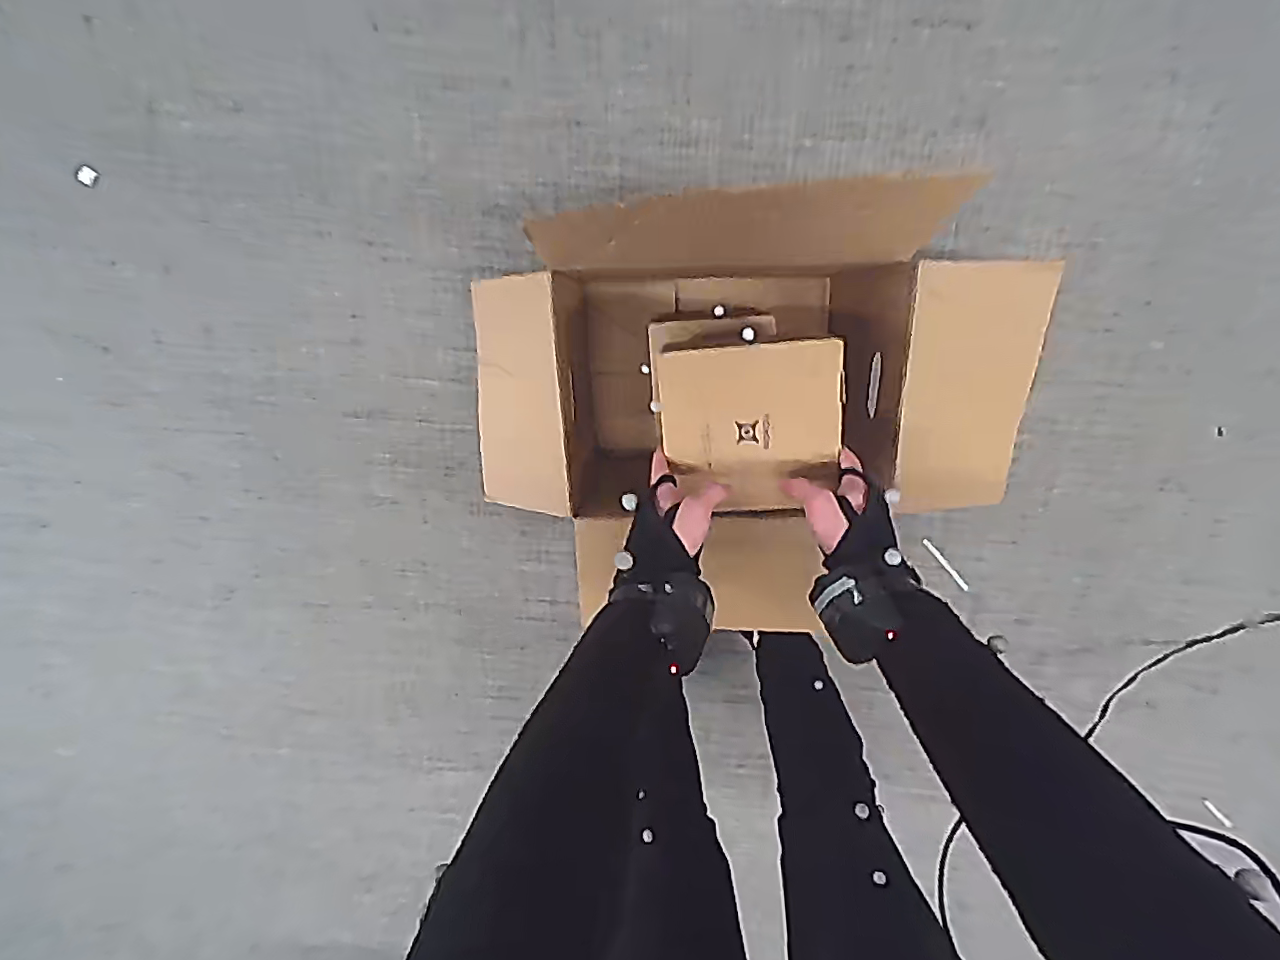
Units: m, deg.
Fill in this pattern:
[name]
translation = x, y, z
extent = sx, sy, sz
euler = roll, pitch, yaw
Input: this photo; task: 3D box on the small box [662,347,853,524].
[small box]
translation = 0.114, -0.057, 0.591
extent = 0.179, 0.176, 0.168
euler = -1, 105, 5
